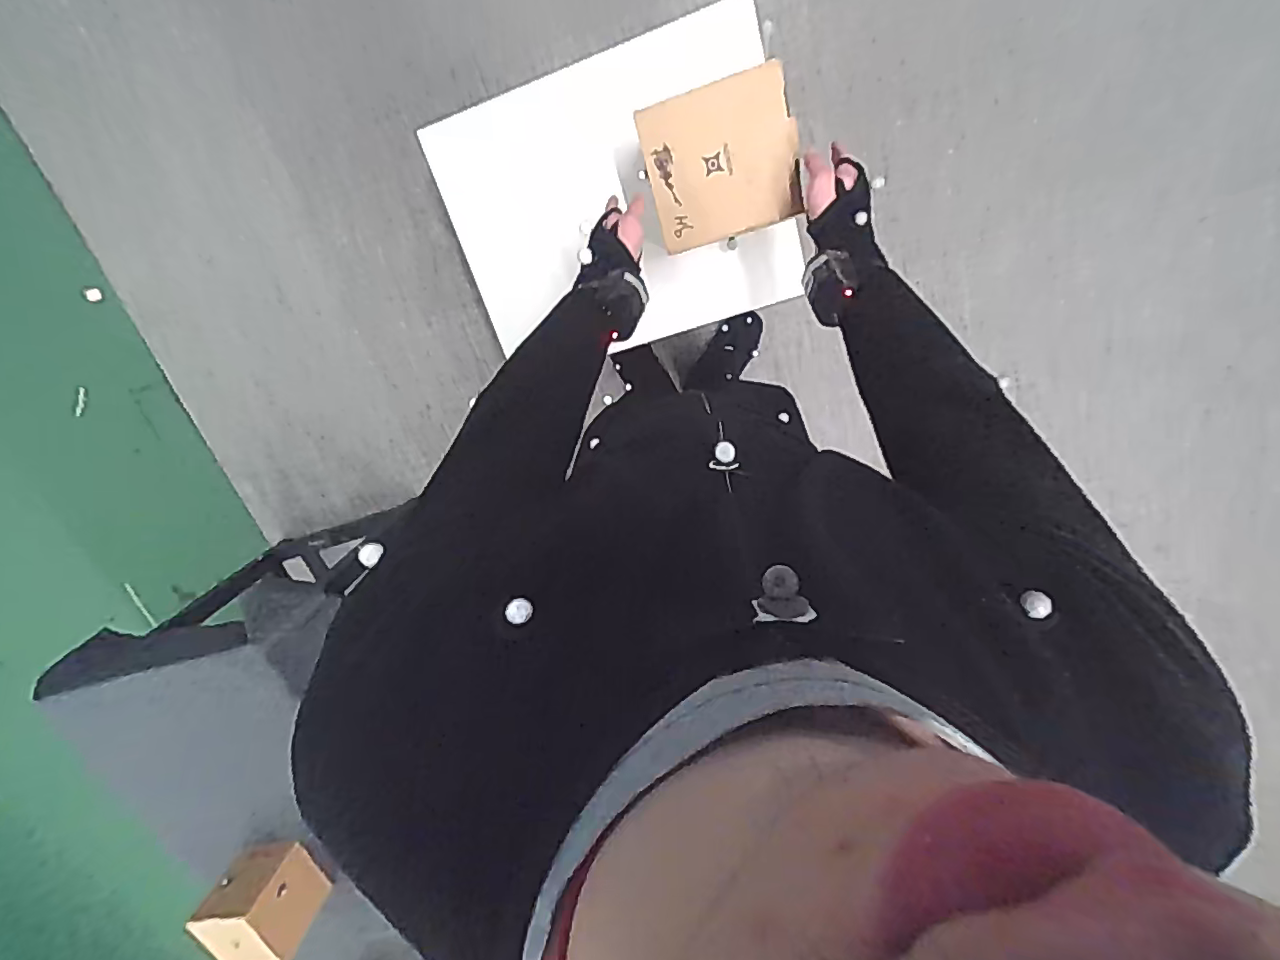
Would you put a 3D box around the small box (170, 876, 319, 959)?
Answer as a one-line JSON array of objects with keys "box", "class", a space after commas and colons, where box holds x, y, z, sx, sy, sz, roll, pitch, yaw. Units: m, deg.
[{"box": [-0.853, 0.998, 1.177, 0.168, 0.176, 0.179, -16, 112, 10], "class": "small box"}]

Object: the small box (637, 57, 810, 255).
[{"box": [0.101, -0.402, 0.702, 0.179, 0.176, 0.168, -14, 110, 8], "class": "small box"}]
